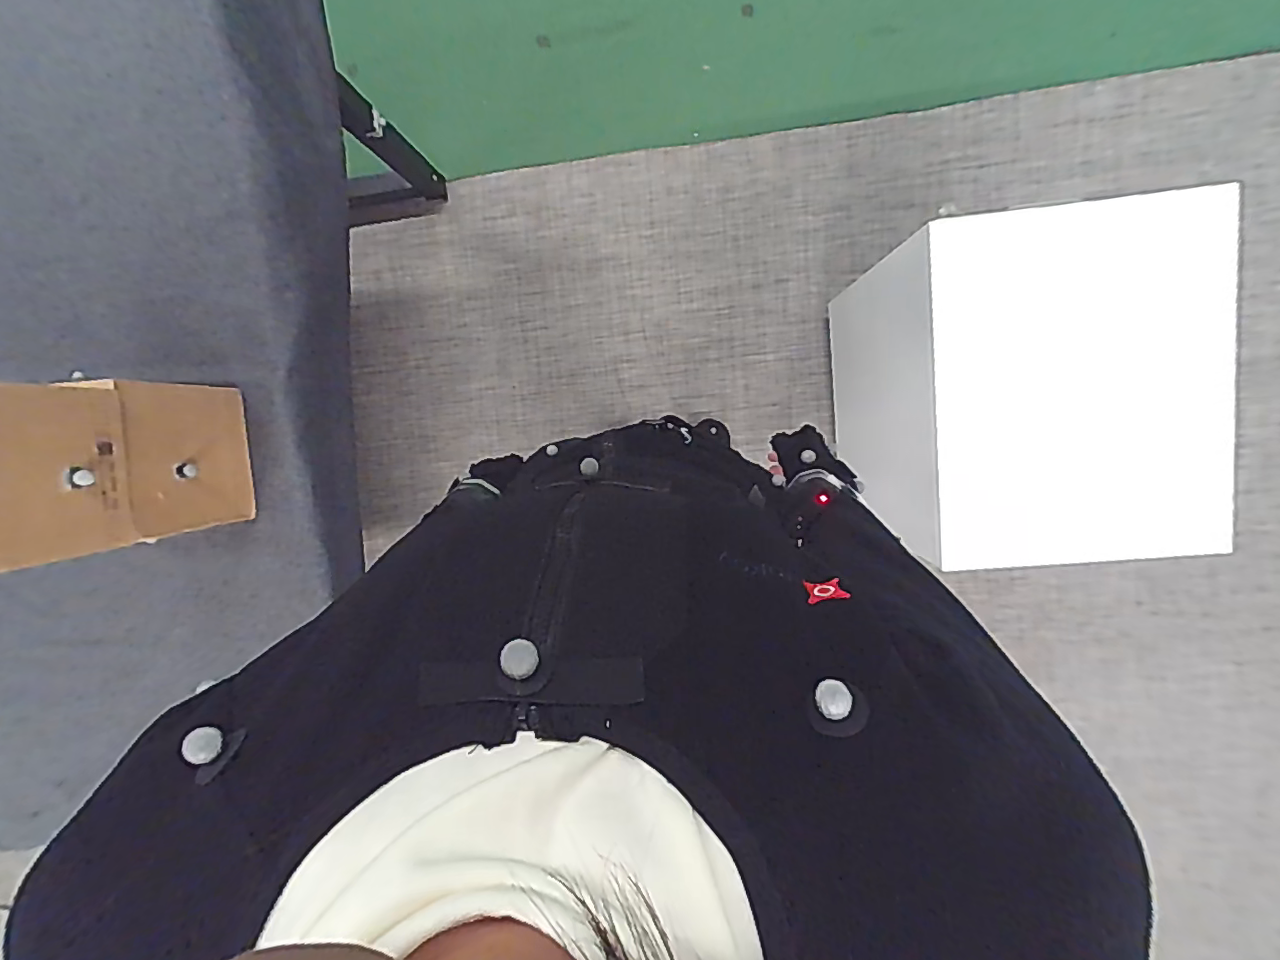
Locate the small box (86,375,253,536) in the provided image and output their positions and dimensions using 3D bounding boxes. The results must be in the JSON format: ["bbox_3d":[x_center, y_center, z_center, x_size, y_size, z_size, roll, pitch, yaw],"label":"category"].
[{"bbox_3d":[-0.619,-0.035,0.666,0.168,0.176,0.179,-2,97,6],"label":"small box"}]
